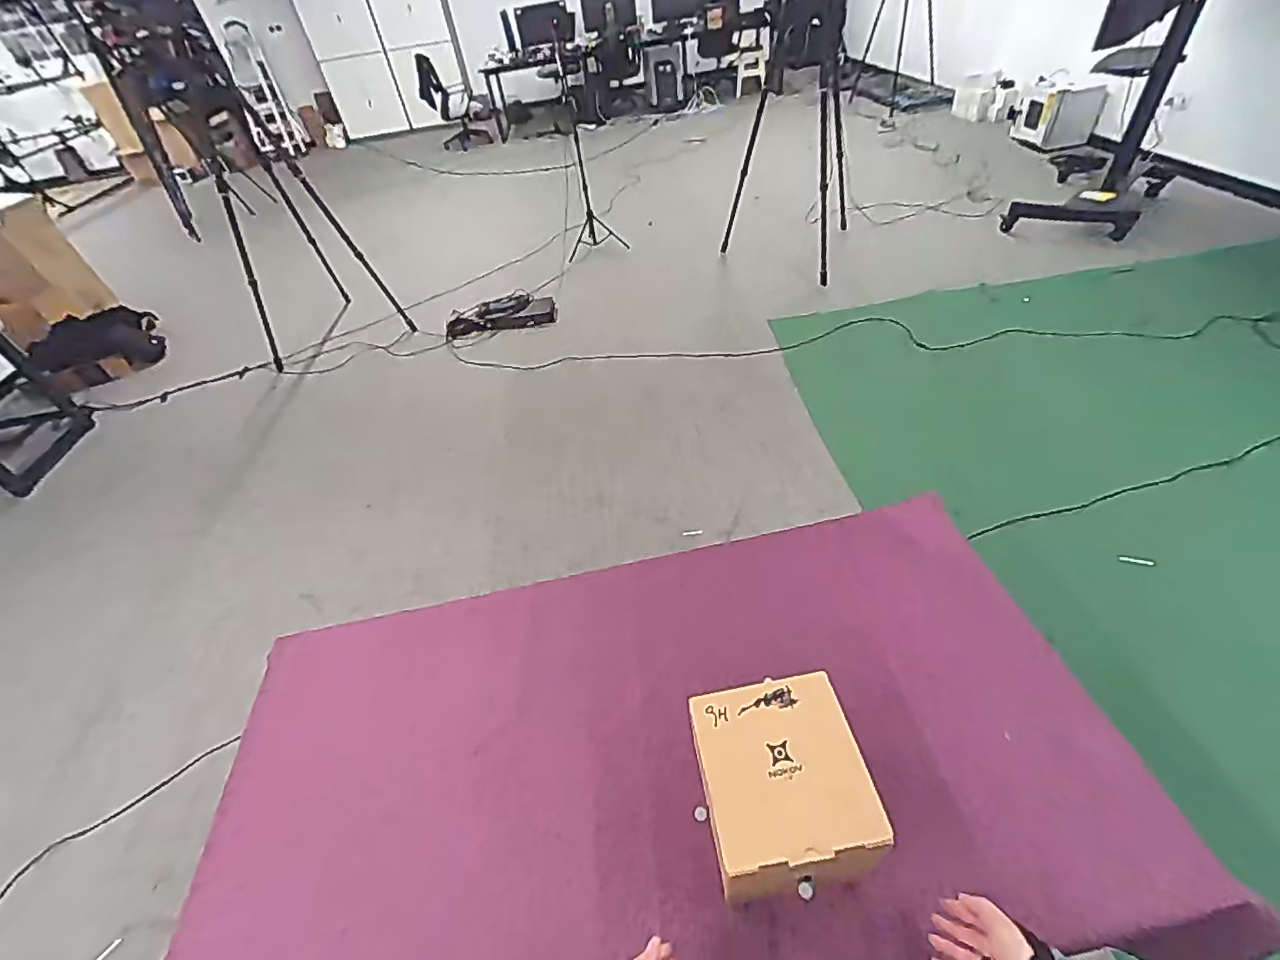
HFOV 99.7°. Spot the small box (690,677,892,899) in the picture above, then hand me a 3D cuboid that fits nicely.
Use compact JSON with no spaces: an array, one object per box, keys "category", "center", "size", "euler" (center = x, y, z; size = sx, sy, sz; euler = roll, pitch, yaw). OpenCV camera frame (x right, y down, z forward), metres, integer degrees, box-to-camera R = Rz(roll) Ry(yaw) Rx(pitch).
[{"category":"small box","center":[0.159,0.359,0.623],"size":[0.168,0.176,0.179],"euler":[-11,45,-1]}]
